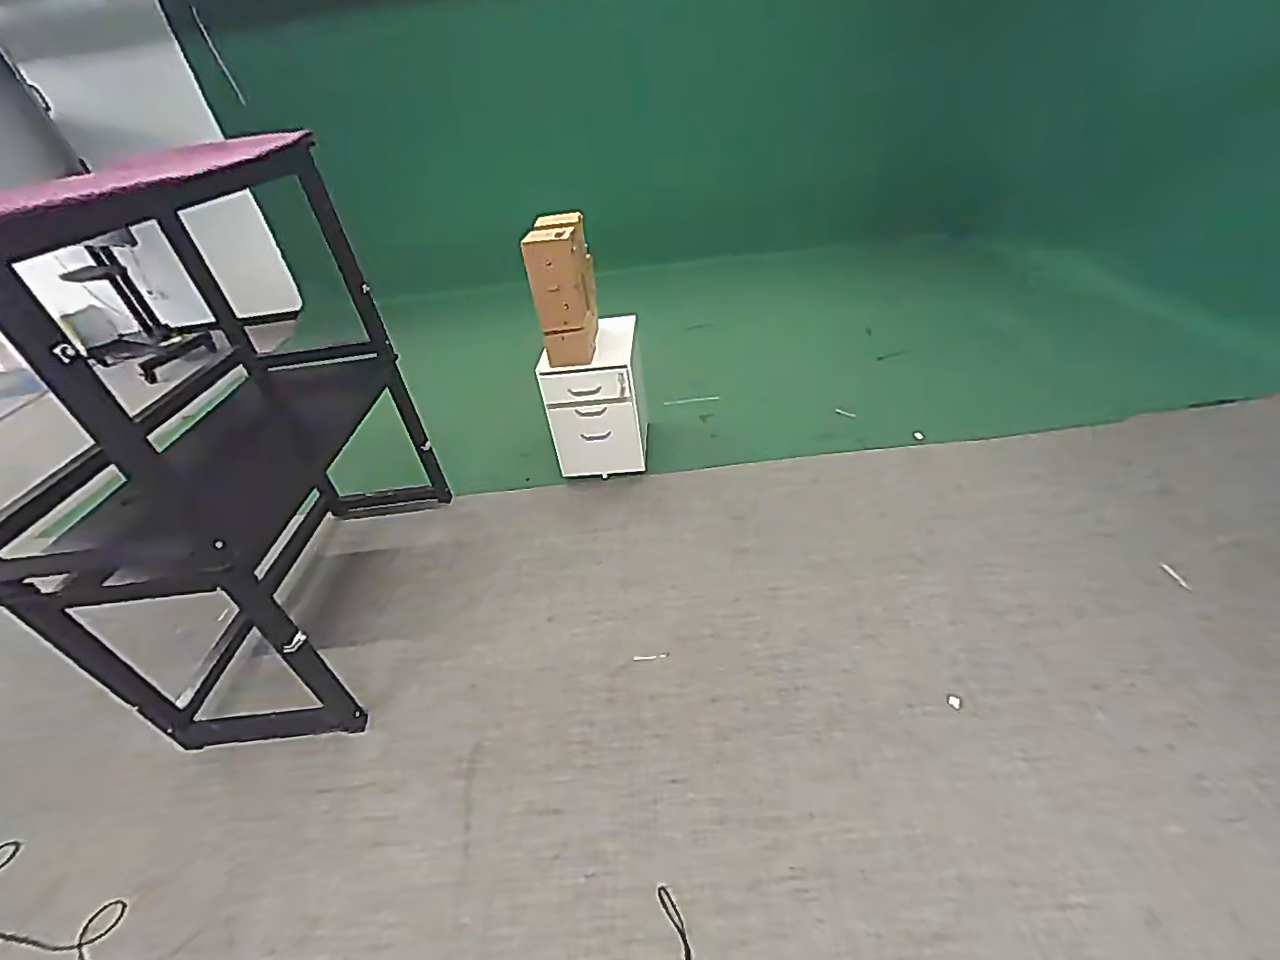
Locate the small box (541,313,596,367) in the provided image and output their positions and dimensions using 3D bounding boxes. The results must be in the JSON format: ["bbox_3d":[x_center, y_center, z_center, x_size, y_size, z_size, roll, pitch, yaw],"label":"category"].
[{"bbox_3d":[-0.290,-0.572,2.223,0.179,0.176,0.168,-2,37,8],"label":"small box"}]

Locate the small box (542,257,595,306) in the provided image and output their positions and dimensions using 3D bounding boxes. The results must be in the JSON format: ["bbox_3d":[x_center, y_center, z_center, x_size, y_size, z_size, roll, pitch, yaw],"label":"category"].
[{"bbox_3d":[-0.302,-0.842,2.312,0.179,0.176,0.168,-1,37,8],"label":"small box"}]

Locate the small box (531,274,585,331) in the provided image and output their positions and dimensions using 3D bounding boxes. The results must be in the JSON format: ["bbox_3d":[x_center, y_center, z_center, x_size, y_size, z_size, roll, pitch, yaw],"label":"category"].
[{"bbox_3d":[-0.315,-0.690,2.113,0.168,0.176,0.179,-3,36,5],"label":"small box"}]
